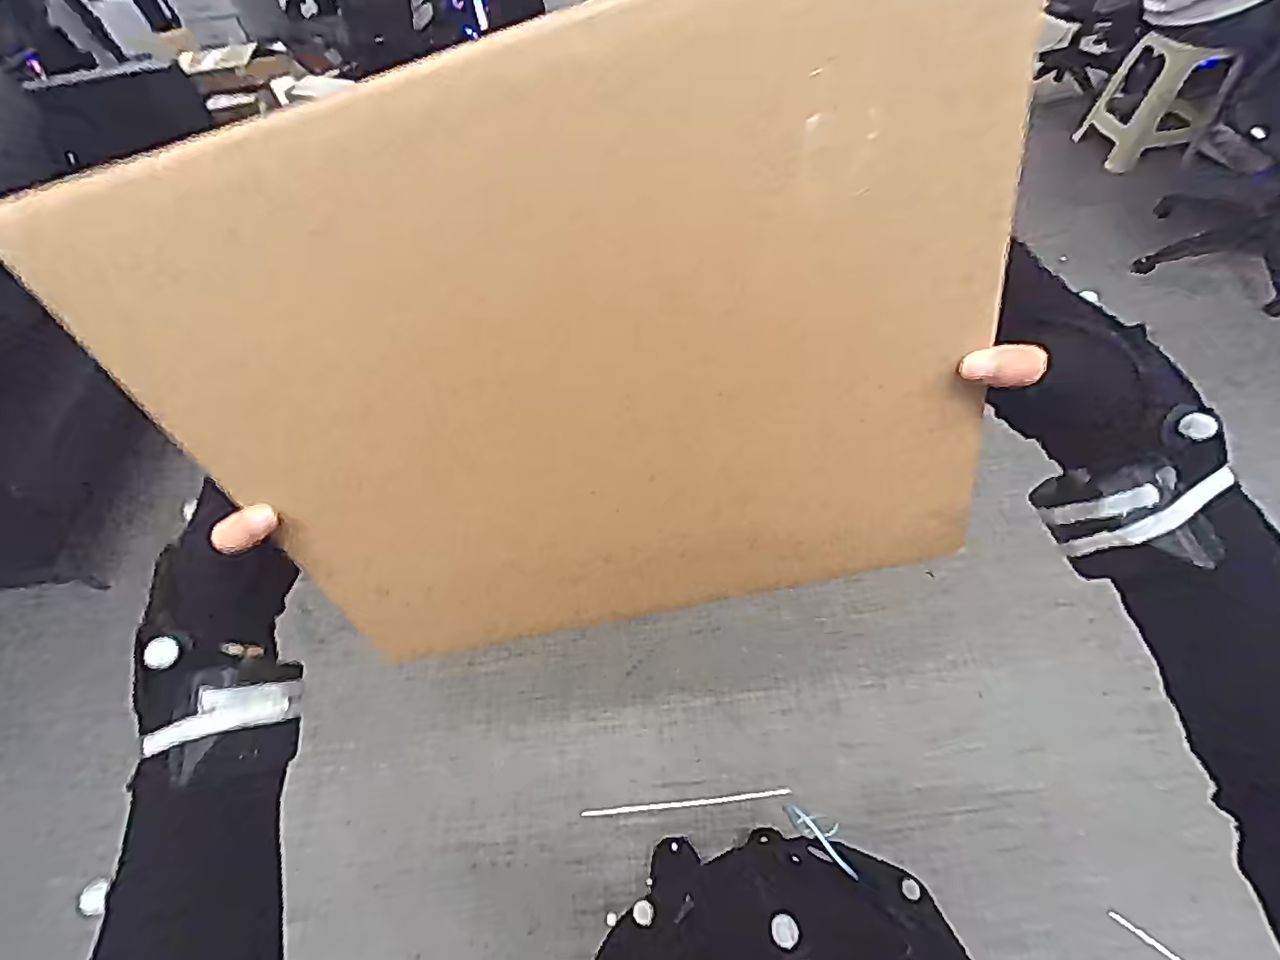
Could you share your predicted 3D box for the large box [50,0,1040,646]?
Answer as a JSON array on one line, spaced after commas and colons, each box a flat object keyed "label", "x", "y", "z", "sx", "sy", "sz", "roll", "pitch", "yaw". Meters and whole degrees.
[{"label": "large box", "x": -0.024, "y": -0.120, "z": 0.407, "sx": 0.408, "sy": 0.320, "sz": 0.320, "roll": -12, "pitch": 38, "yaw": 7}]
